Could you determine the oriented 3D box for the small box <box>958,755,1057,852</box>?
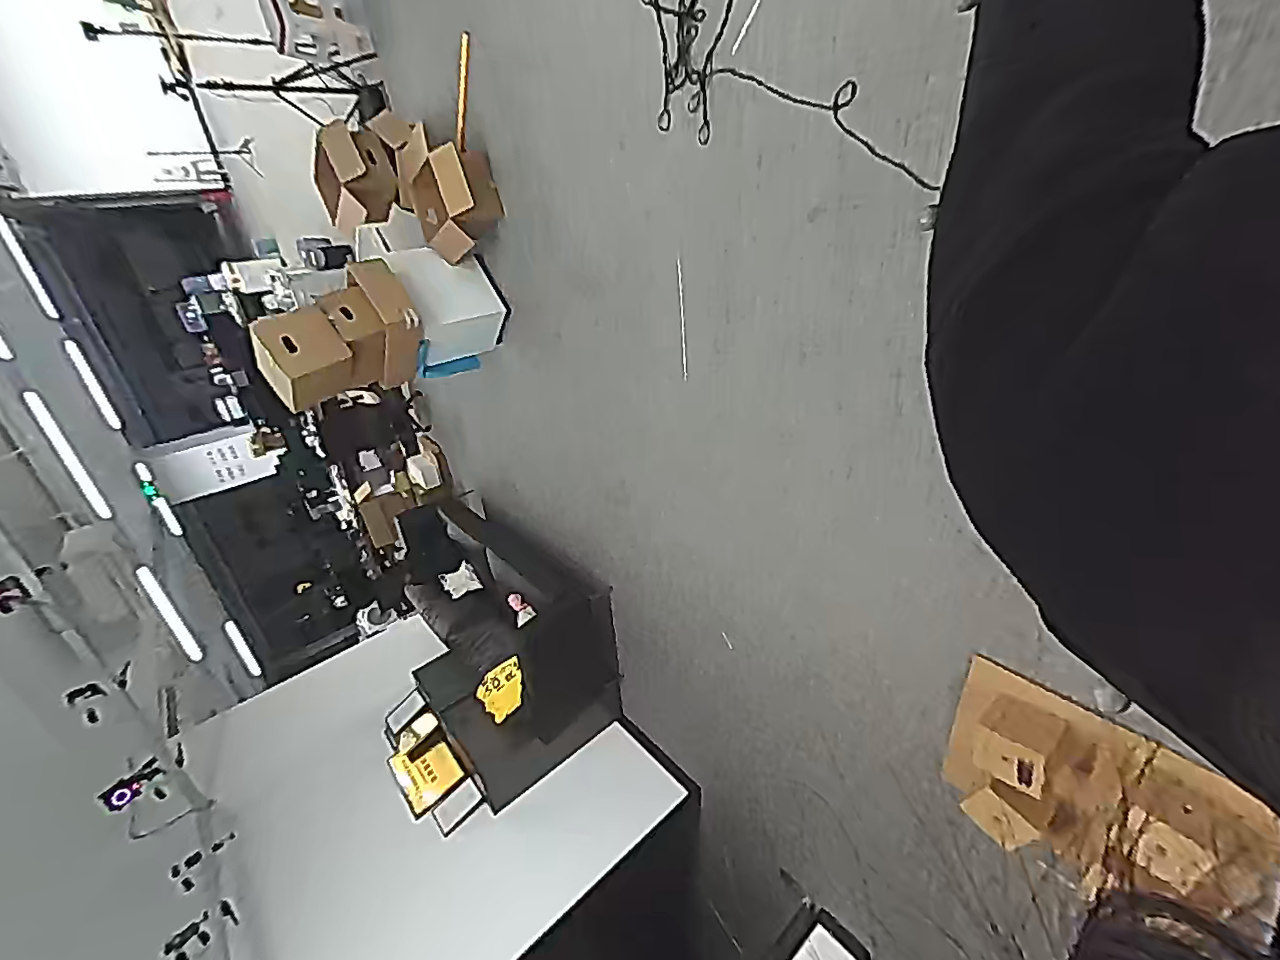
[{"bbox_3d":[1.140,0.999,1.675,0.168,0.176,0.179,42,141,30],"label":"small box"}]

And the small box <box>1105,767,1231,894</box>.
[{"bbox_3d":[1.315,0.864,1.347,0.168,0.176,0.179,32,135,41],"label":"small box"}]

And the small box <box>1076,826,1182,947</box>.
[{"bbox_3d":[1.336,1.096,1.473,0.168,0.176,0.179,28,132,44],"label":"small box"}]
